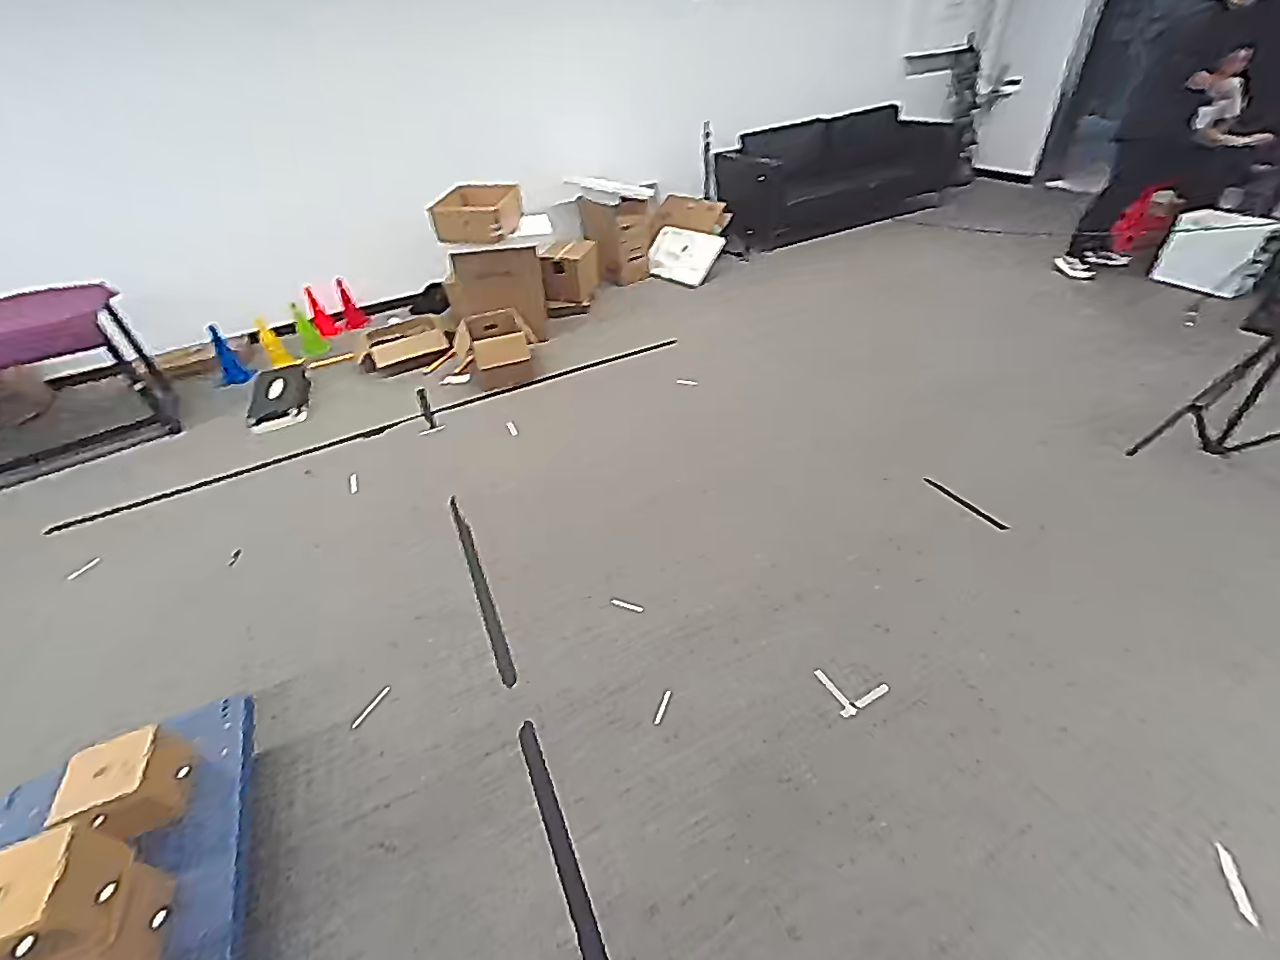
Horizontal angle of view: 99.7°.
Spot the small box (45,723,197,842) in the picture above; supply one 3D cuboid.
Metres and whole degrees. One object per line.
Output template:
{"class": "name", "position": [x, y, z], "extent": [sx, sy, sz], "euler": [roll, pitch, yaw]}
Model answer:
{"class": "small box", "position": [-1.199, 0.716, 1.267], "extent": [0.179, 0.176, 0.168], "euler": [-18, 41, -15]}

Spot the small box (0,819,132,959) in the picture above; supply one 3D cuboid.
{"class": "small box", "position": [-1.063, 0.750, 0.948], "extent": [0.179, 0.176, 0.168], "euler": [-19, 40, -18]}
